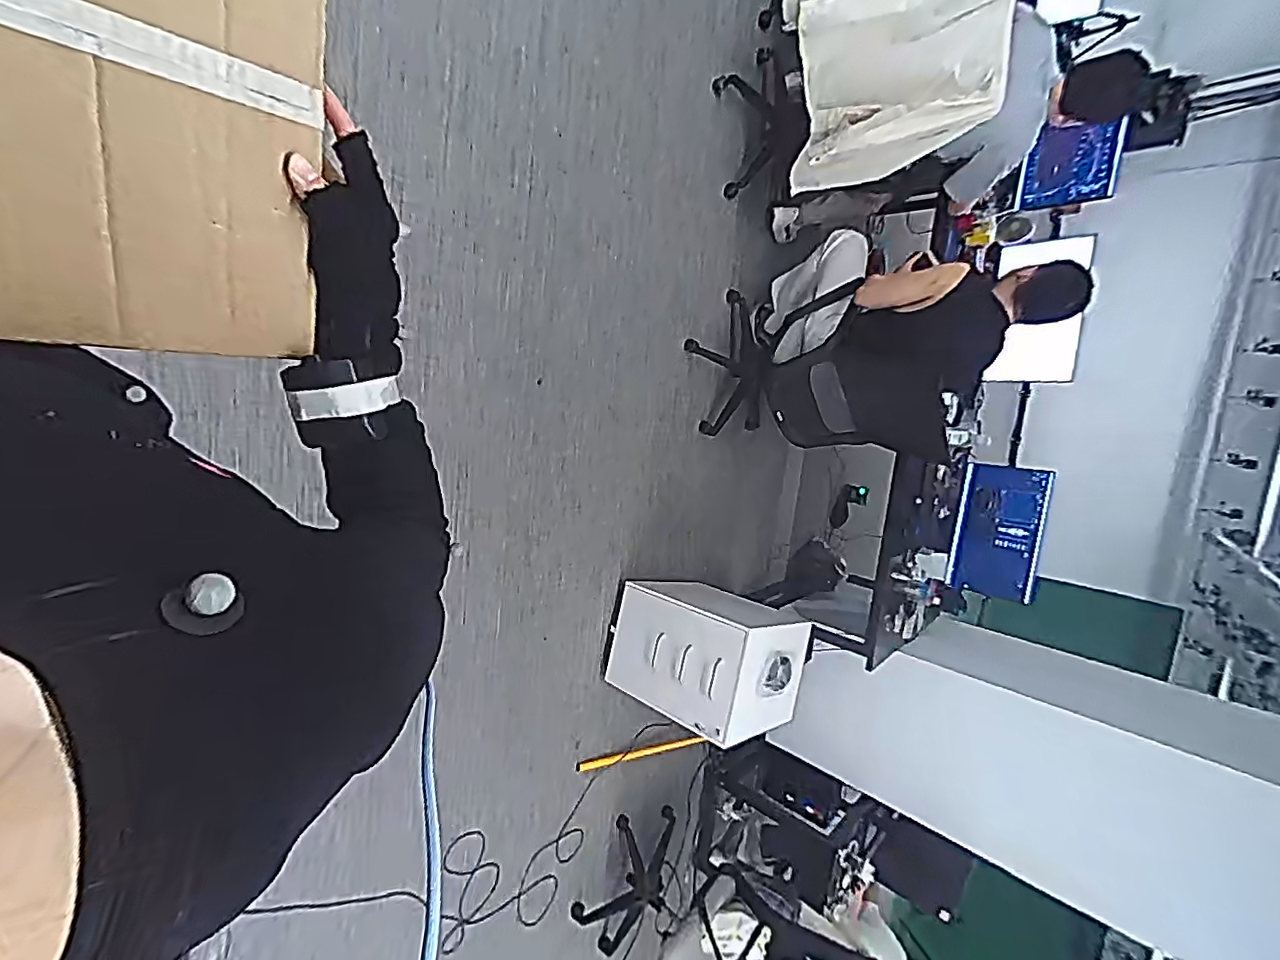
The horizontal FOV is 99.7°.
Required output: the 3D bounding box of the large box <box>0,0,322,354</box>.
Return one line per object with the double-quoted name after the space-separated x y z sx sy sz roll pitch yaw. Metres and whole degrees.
-0.446 -0.275 0.301 0.408 0.320 0.320 -6 122 -44 "large box"
